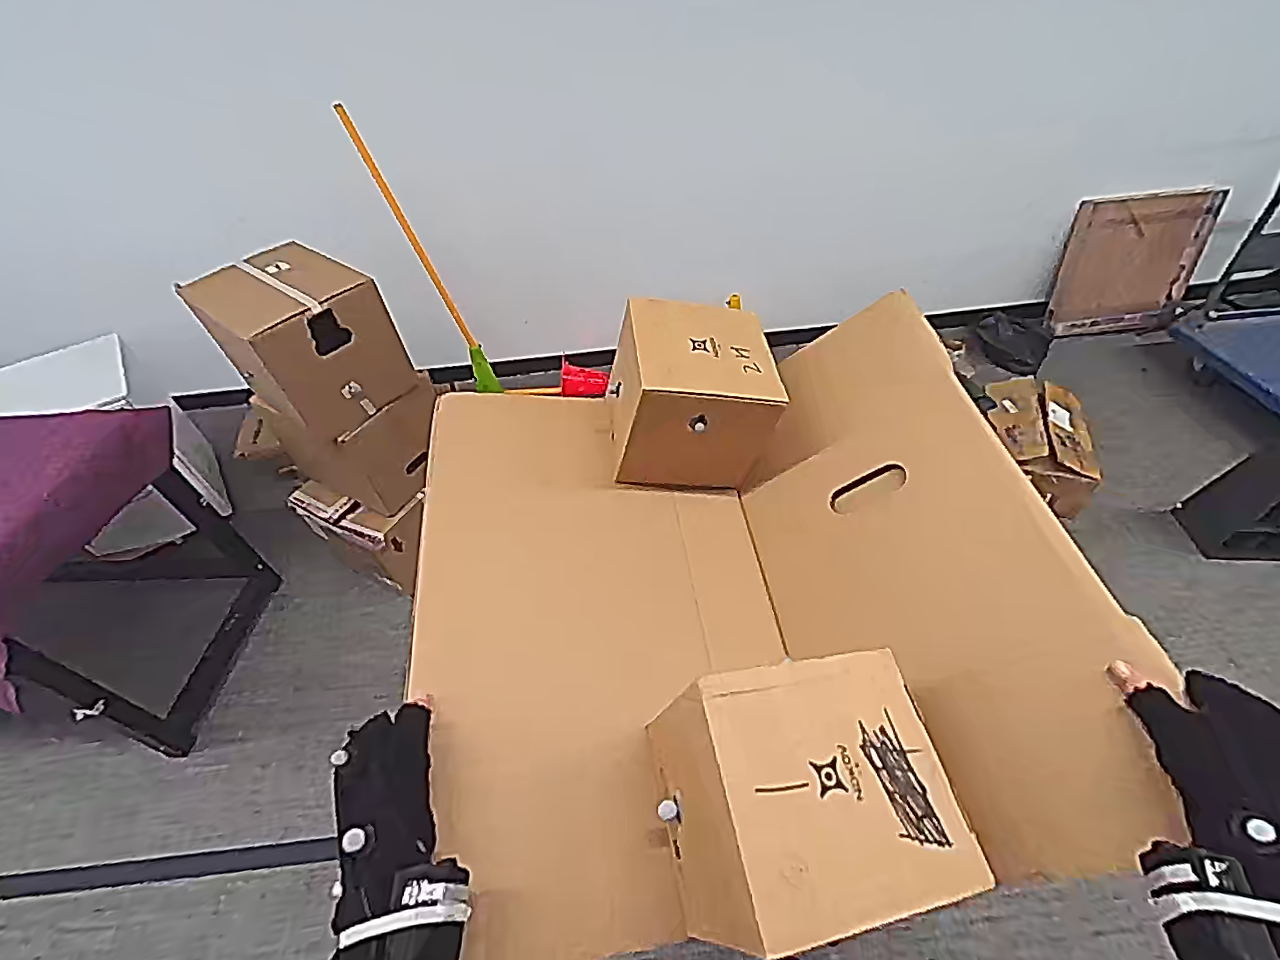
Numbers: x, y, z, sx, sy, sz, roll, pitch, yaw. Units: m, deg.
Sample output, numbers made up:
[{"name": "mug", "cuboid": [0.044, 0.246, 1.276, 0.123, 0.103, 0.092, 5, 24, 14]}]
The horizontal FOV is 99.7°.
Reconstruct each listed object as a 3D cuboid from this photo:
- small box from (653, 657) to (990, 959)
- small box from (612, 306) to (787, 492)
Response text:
[{"name": "small box", "cuboid": [0.125, 0.261, 0.448, 0.179, 0.176, 0.168, -3, 55, -16]}, {"name": "small box", "cuboid": [0.061, -0.098, 0.704, 0.179, 0.176, 0.168, 4, 53, -13]}]
